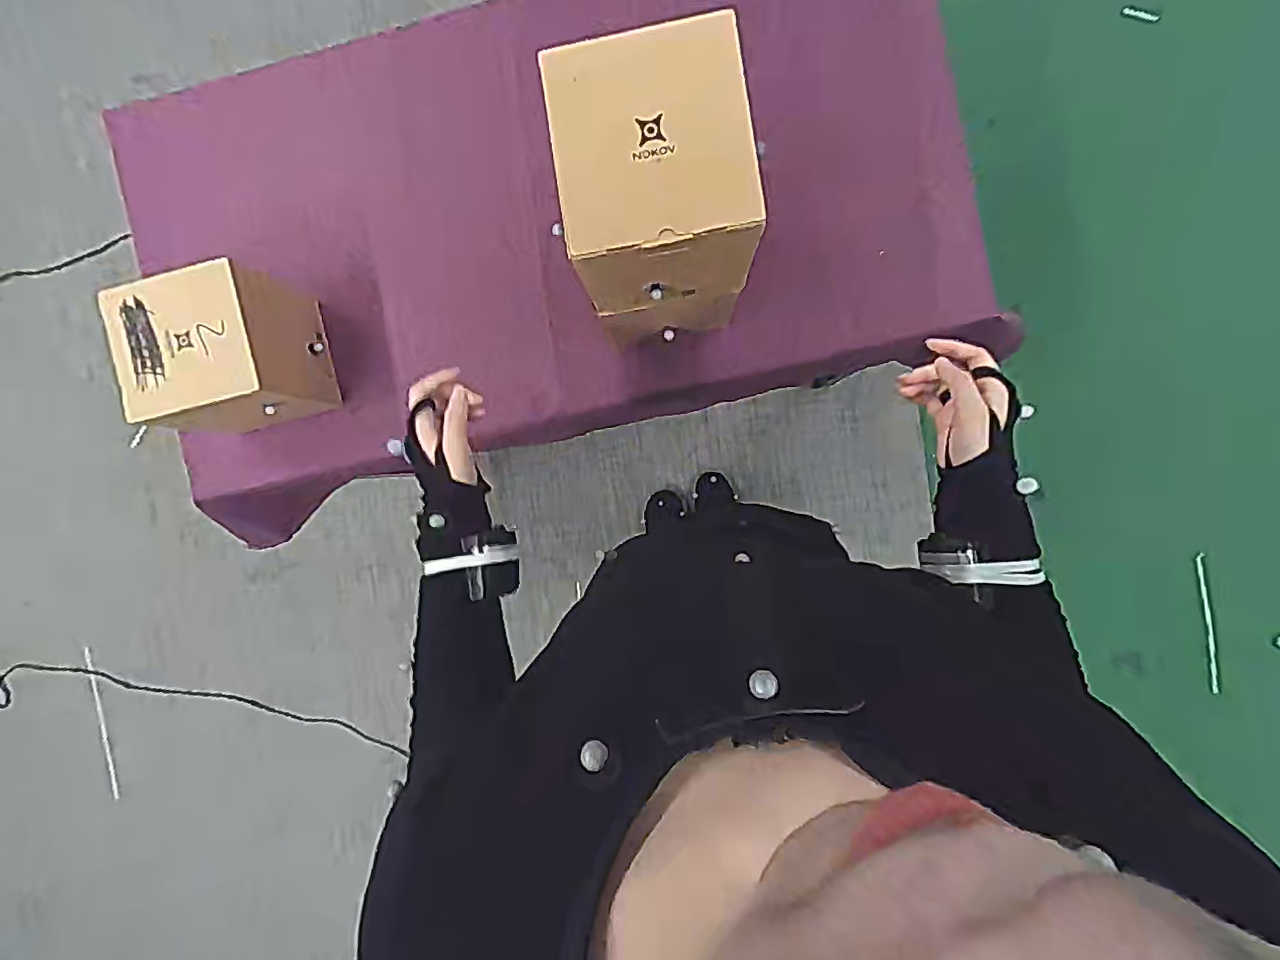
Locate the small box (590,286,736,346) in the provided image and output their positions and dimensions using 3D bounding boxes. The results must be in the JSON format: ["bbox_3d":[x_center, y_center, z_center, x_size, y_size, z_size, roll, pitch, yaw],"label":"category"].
[{"bbox_3d":[0.020,-0.285,0.687,0.168,0.176,0.179,-9,92,4],"label":"small box"}]

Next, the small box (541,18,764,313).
[{"bbox_3d":[0.013,-0.281,0.524,0.168,0.176,0.179,-9,92,4],"label":"small box"}]
